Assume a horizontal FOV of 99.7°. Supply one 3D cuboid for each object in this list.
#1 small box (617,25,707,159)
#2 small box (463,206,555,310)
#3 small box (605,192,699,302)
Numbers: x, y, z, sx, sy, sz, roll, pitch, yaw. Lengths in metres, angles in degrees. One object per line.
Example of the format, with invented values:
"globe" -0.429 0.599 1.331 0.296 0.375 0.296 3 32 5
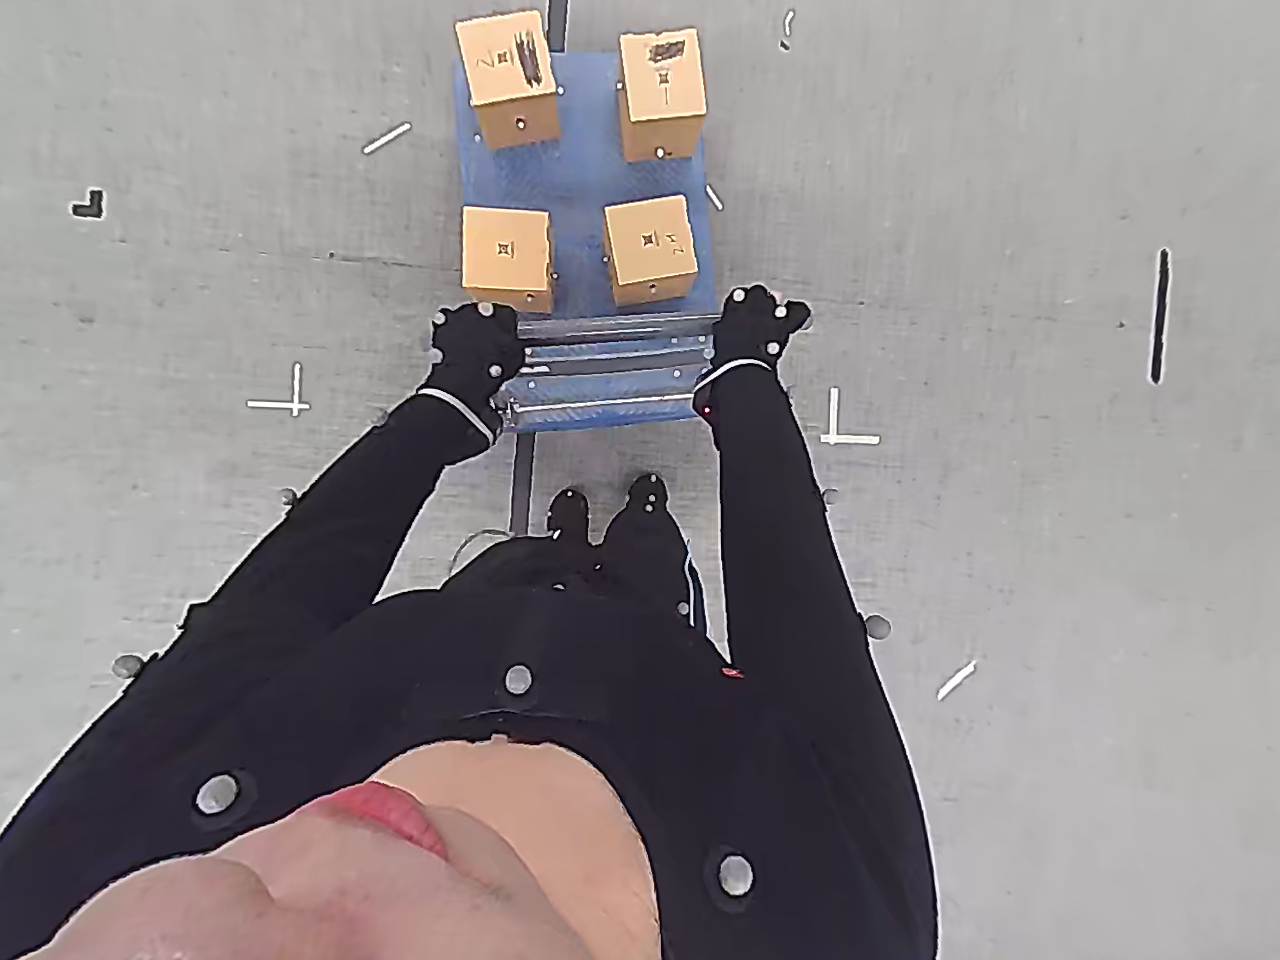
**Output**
"small box" 0.042 -0.850 1.197 0.168 0.176 0.179 -9 94 -4
"small box" -0.281 -0.479 1.190 0.179 0.176 0.168 0 92 -6
"small box" 0.021 -0.512 1.211 0.179 0.176 0.168 -12 93 -4
